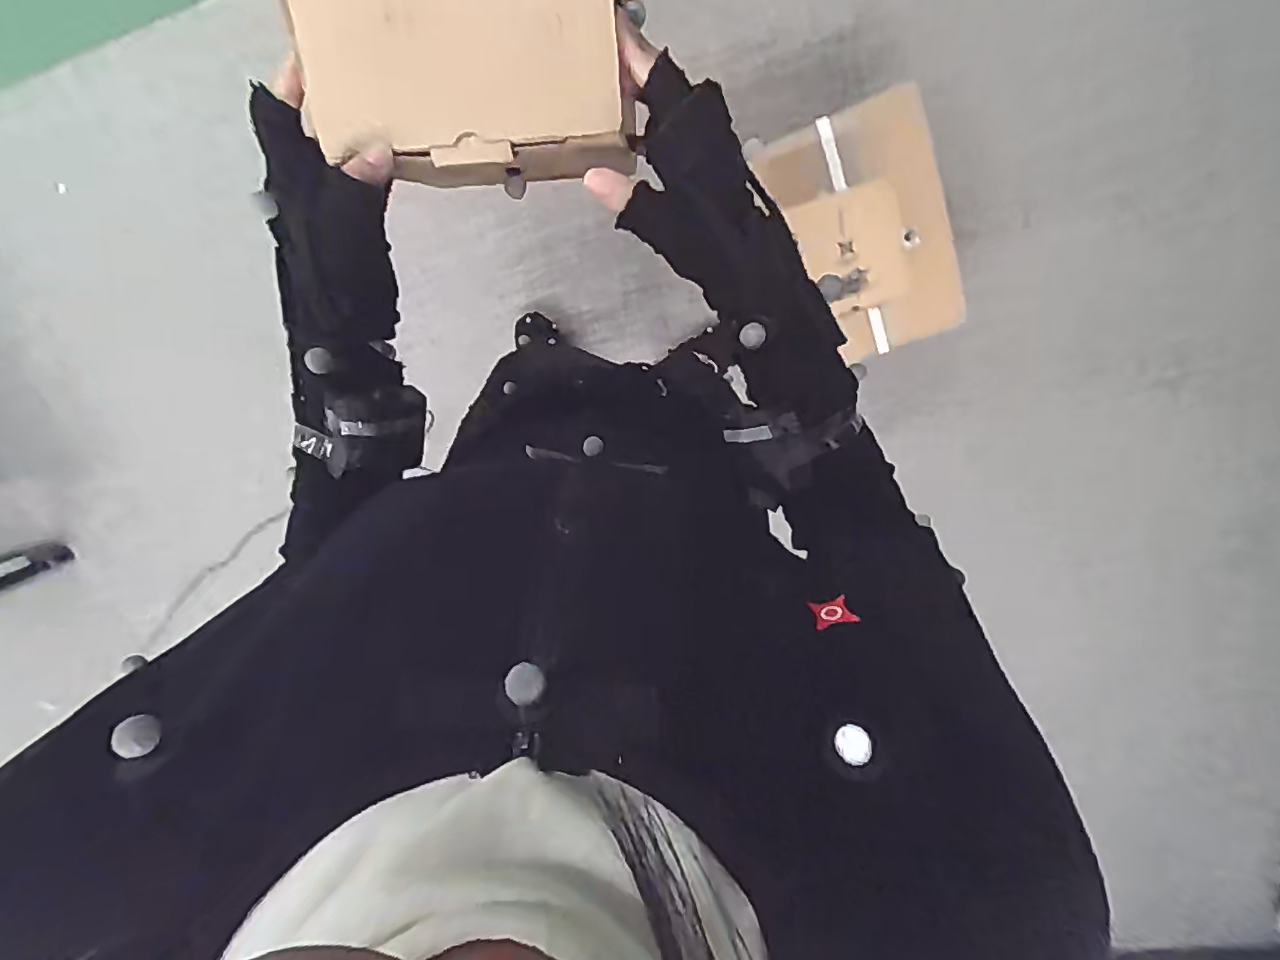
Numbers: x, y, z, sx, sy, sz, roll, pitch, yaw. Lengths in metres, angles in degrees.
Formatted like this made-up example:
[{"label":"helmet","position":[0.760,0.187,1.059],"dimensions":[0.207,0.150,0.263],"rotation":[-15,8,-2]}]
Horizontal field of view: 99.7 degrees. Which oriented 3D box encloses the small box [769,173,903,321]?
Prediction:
[{"label":"small box","position":[0.317,-0.377,0.896],"dimensions":[0.168,0.176,0.179],"rotation":[-13,107,11]}]
